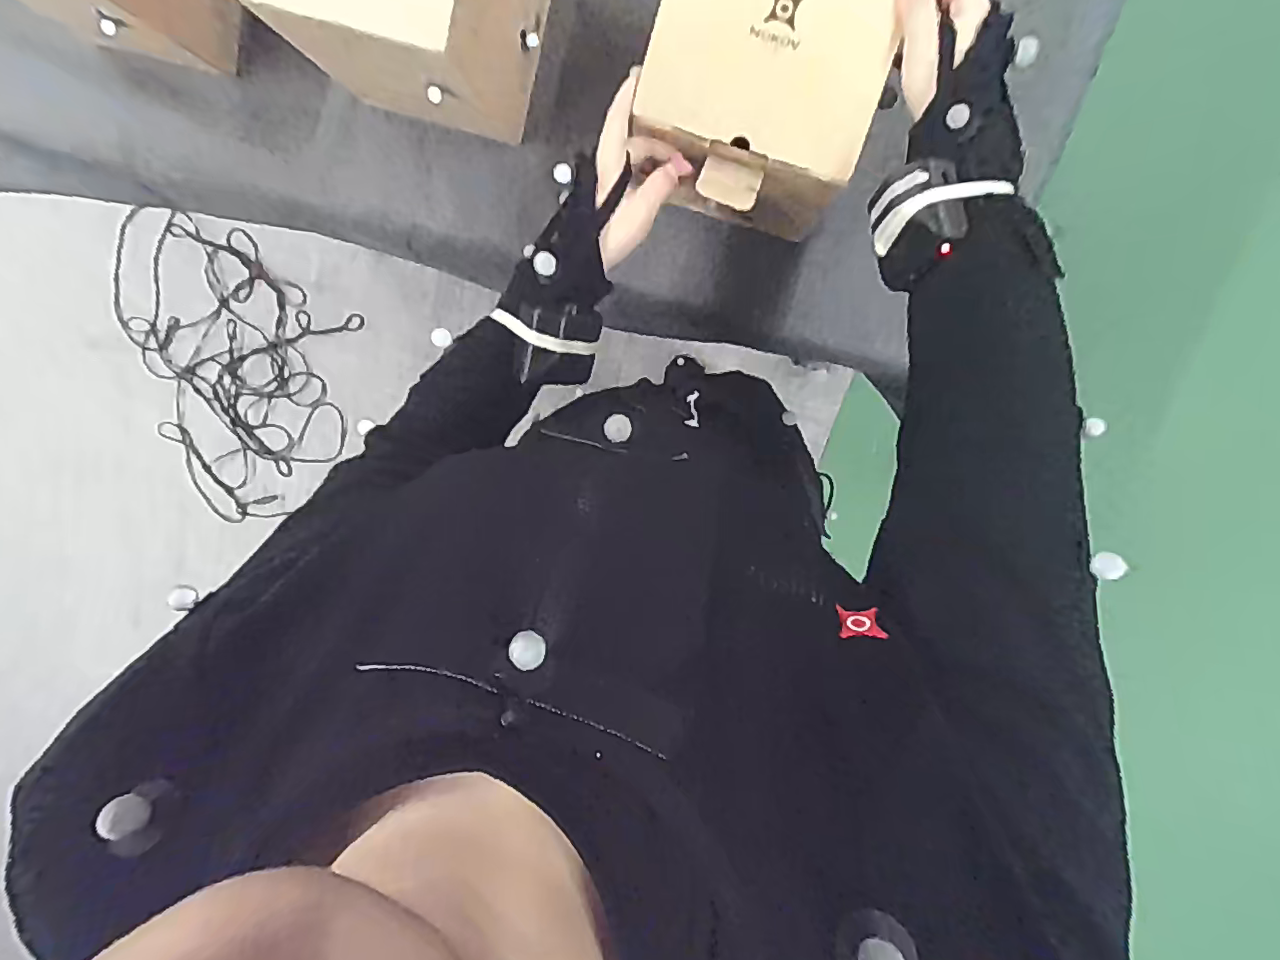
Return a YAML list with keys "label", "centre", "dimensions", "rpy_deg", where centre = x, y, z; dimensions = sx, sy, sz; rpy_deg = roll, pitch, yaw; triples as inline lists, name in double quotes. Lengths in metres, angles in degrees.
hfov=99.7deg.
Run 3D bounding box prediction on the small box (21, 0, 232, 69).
- label: "small box"
  centre: [-0.504, -0.516, 0.488]
  dimensions: [0.179, 0.176, 0.168]
  rpy_deg: [16, 101, 5]
